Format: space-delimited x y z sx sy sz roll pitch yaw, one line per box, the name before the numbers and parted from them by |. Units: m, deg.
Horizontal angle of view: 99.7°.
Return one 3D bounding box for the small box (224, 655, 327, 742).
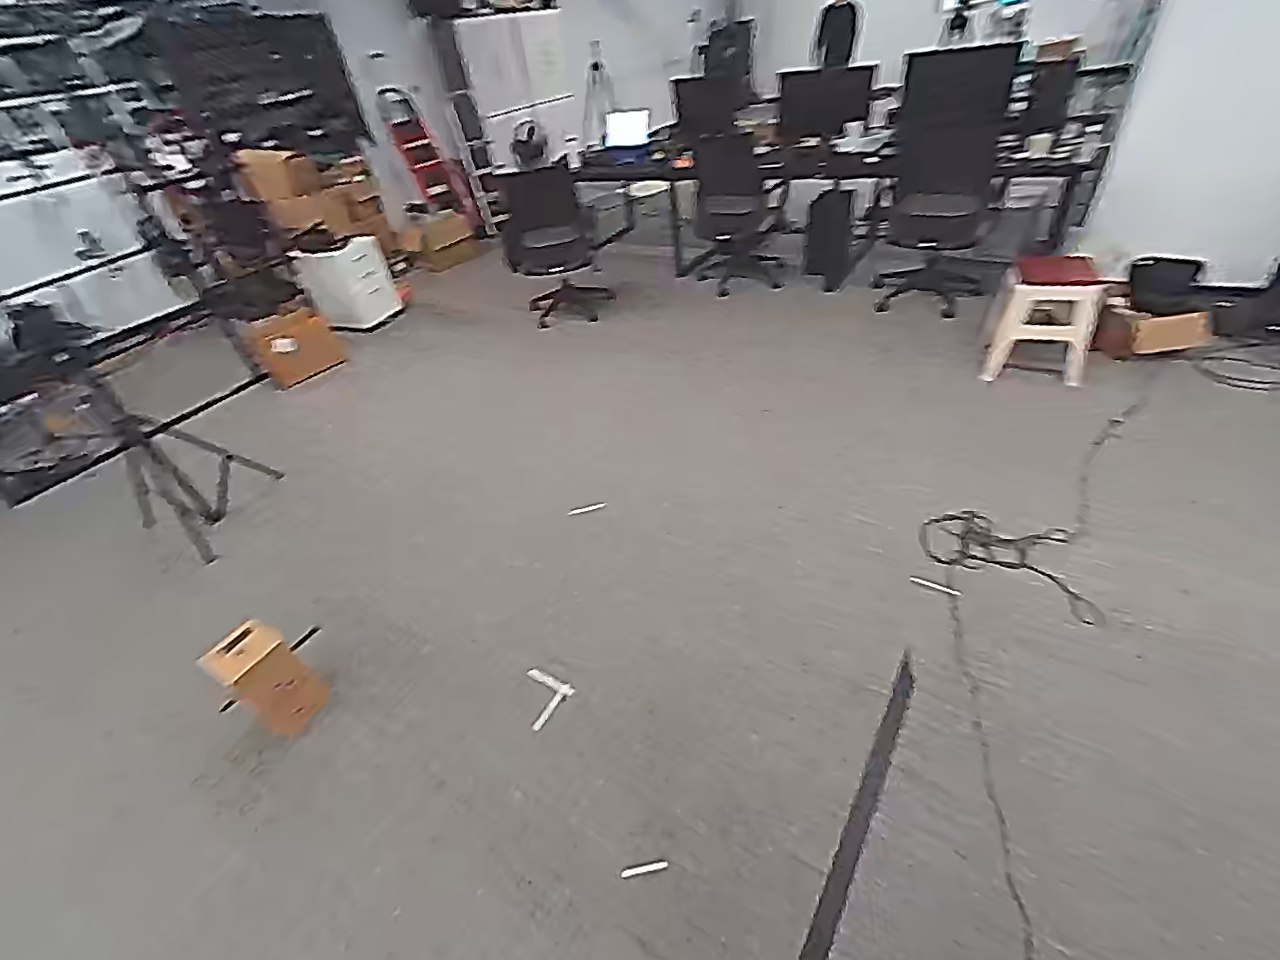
small box | -1.138 0.688 1.697 0.179 0.176 0.168 13 45 25
